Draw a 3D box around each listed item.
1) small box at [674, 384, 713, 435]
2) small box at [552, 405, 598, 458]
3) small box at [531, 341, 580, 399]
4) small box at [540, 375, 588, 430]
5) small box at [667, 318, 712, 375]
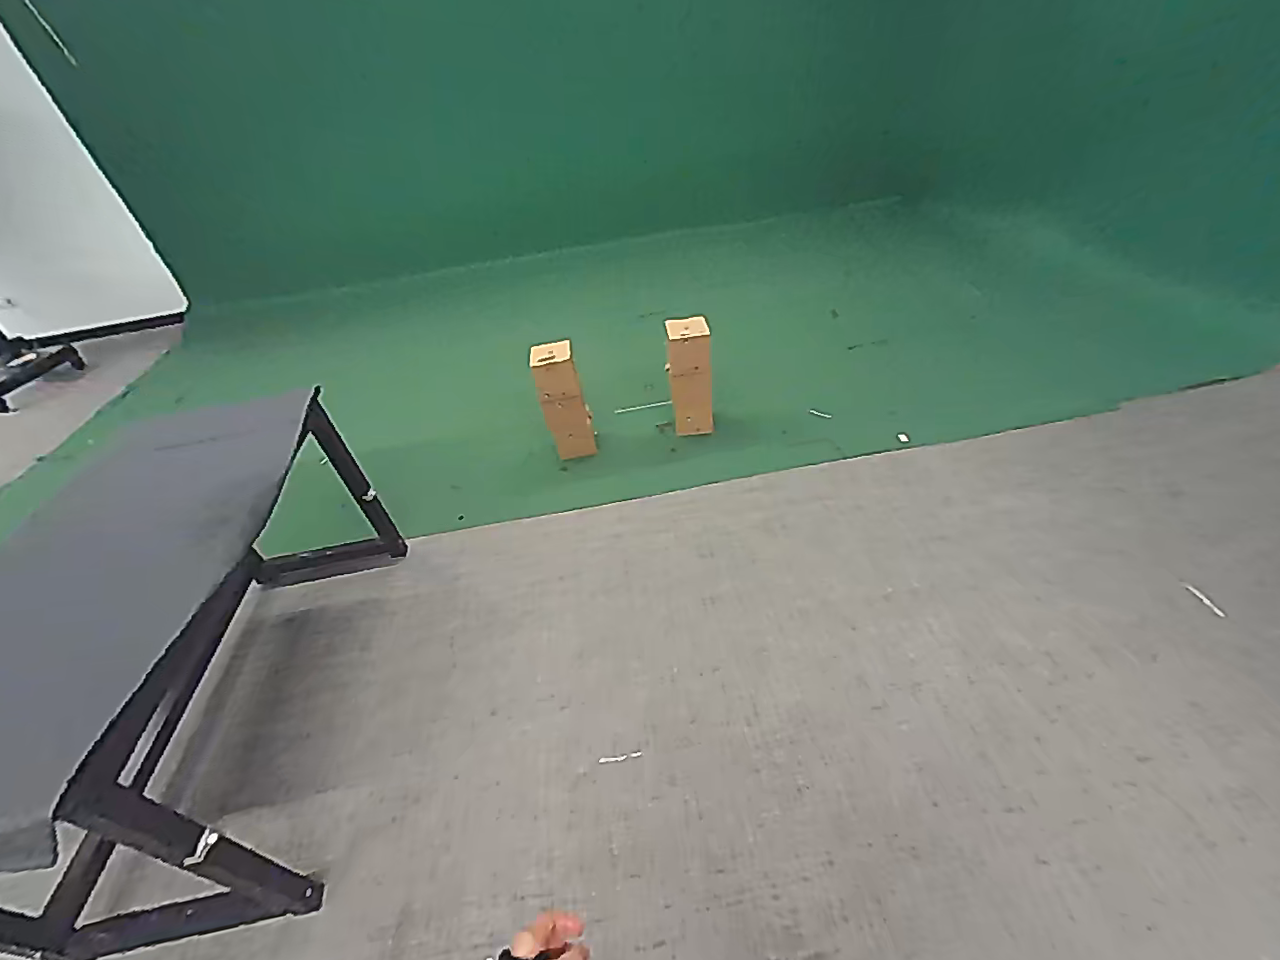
[{"bbox_3d":[0.246,-0.320,2.487,0.168,0.176,0.179,-5,41,4],"label":"small box"},{"bbox_3d":[-0.297,-0.217,2.460,0.179,0.176,0.168,-11,42,-2],"label":"small box"},{"bbox_3d":[-0.345,-0.449,2.236,0.168,0.176,0.179,-10,41,0],"label":"small box"},{"bbox_3d":[-0.328,-0.335,2.353,0.179,0.176,0.168,-9,42,-1],"label":"small box"},{"bbox_3d":[0.204,-0.558,2.264,0.168,0.176,0.179,-7,40,0],"label":"small box"}]
